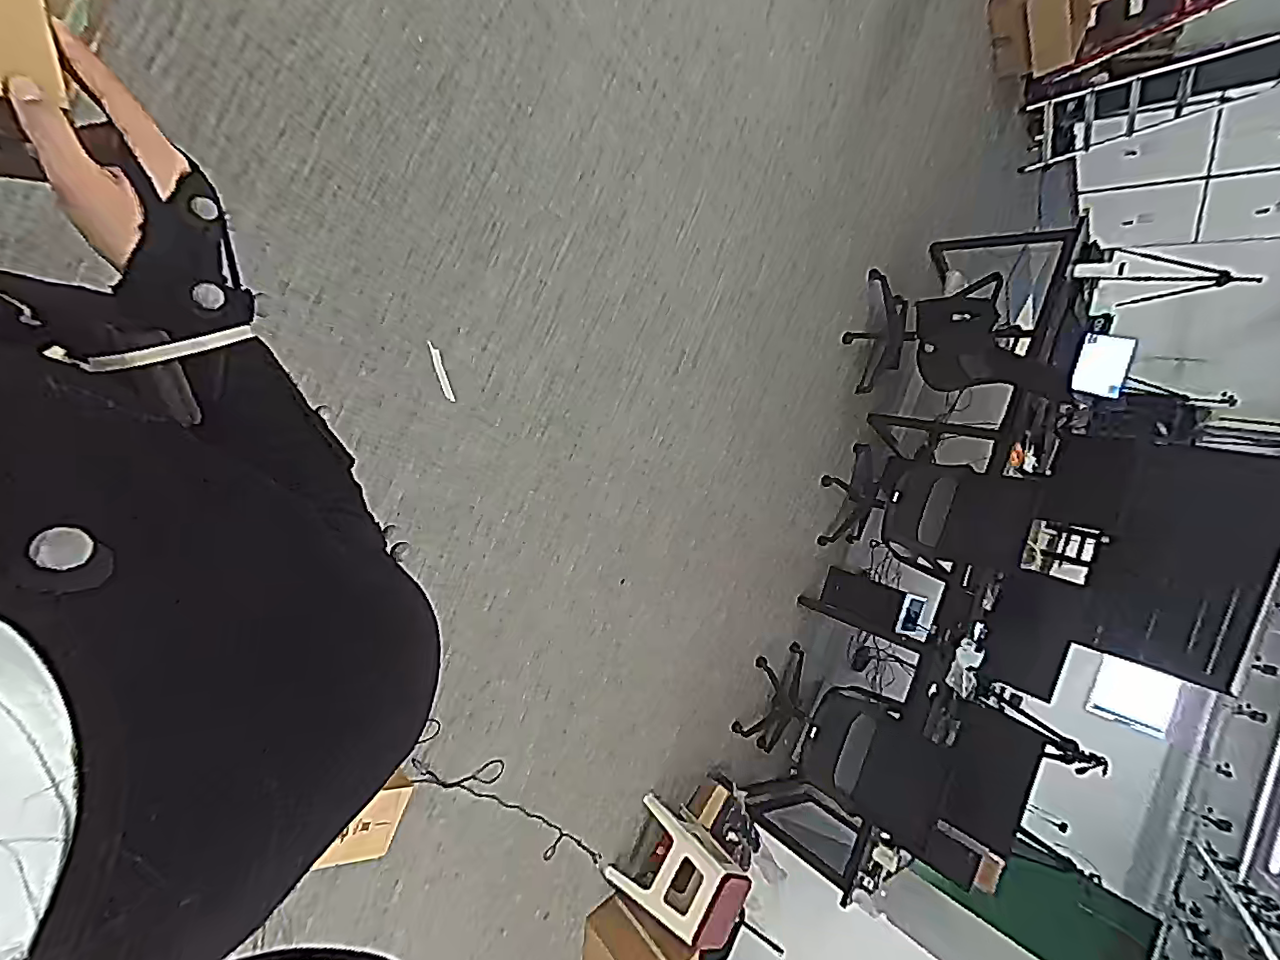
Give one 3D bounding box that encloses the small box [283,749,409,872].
[{"bbox_3d":[-0.662,0.727,1.213,0.179,0.176,0.168,28,82,-47],"label":"small box"}]
